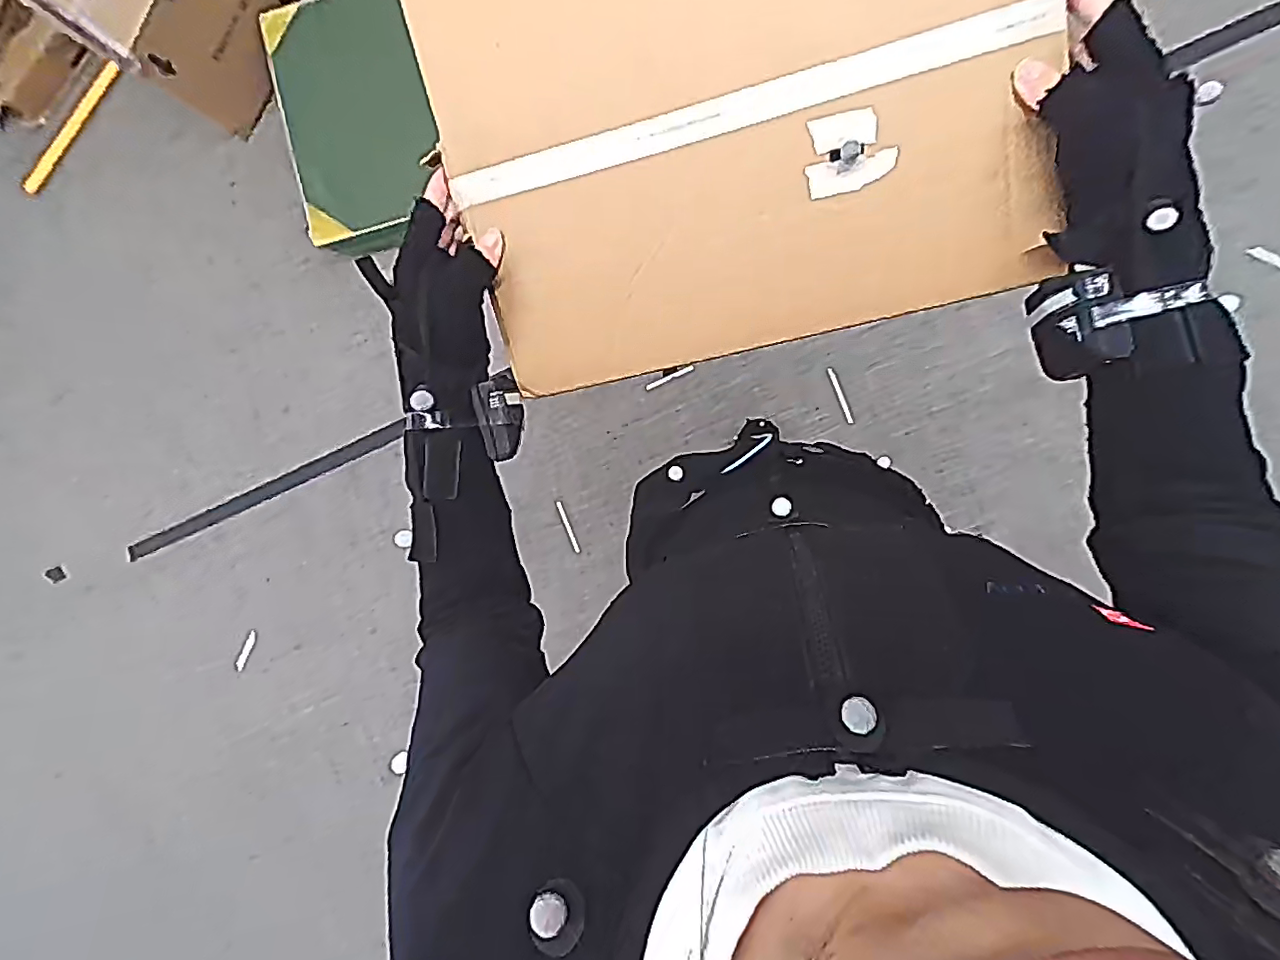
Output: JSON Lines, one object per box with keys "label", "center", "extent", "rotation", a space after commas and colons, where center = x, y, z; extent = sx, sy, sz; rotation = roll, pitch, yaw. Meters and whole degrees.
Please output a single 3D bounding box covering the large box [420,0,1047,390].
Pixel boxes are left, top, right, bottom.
{"label": "large box", "center": [0.079, -0.299, 0.522], "extent": [0.408, 0.320, 0.320], "rotation": [-11, 107, 8]}
